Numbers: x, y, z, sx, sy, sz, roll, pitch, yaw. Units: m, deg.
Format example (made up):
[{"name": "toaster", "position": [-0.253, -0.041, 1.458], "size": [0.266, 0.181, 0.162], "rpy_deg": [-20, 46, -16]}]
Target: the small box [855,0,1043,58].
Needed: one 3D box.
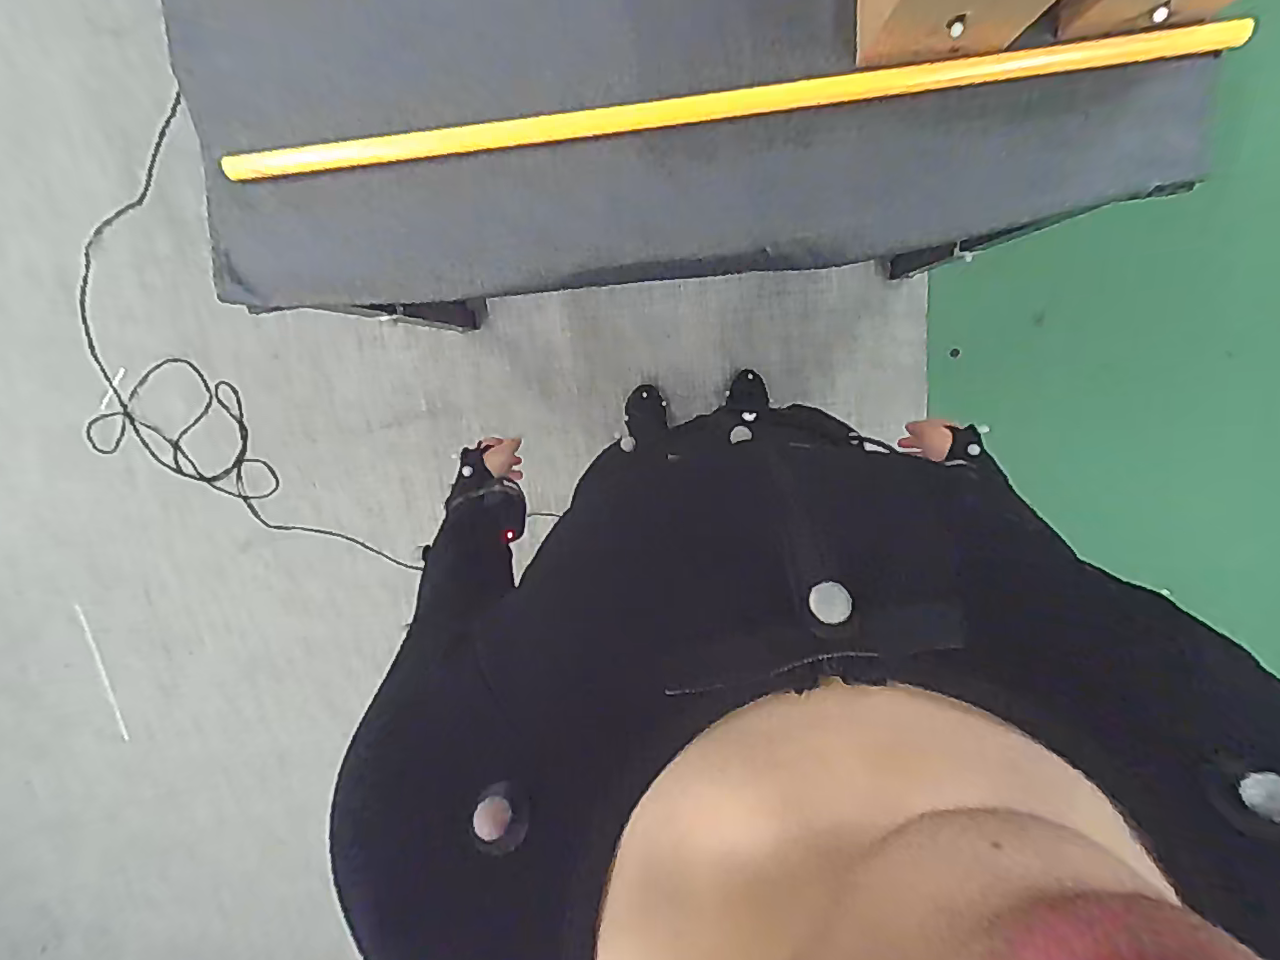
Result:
[{"name": "small box", "position": [0.325, -0.557, 0.537], "size": [0.168, 0.176, 0.179], "rpy_deg": [-3, 102, 3]}]
